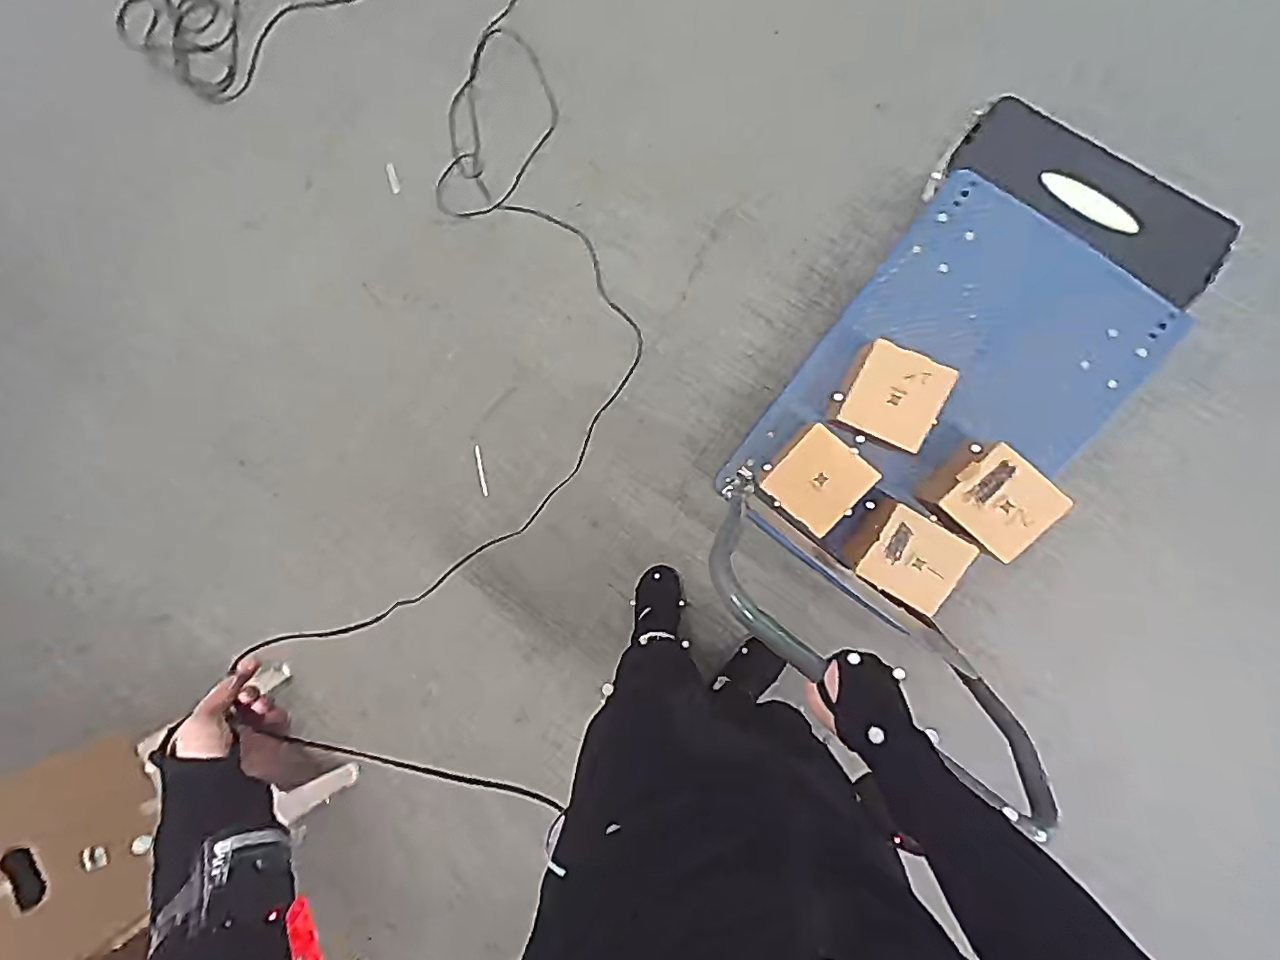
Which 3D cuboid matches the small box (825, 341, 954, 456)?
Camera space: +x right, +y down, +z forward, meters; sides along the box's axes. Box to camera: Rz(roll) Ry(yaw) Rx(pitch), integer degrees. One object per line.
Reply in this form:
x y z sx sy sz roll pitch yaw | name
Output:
0.503 -0.163 1.123 0.168 0.176 0.179 26 98 6 | small box

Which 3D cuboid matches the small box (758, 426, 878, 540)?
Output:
0.367 -0.001 1.161 0.168 0.176 0.179 42 100 4 | small box
